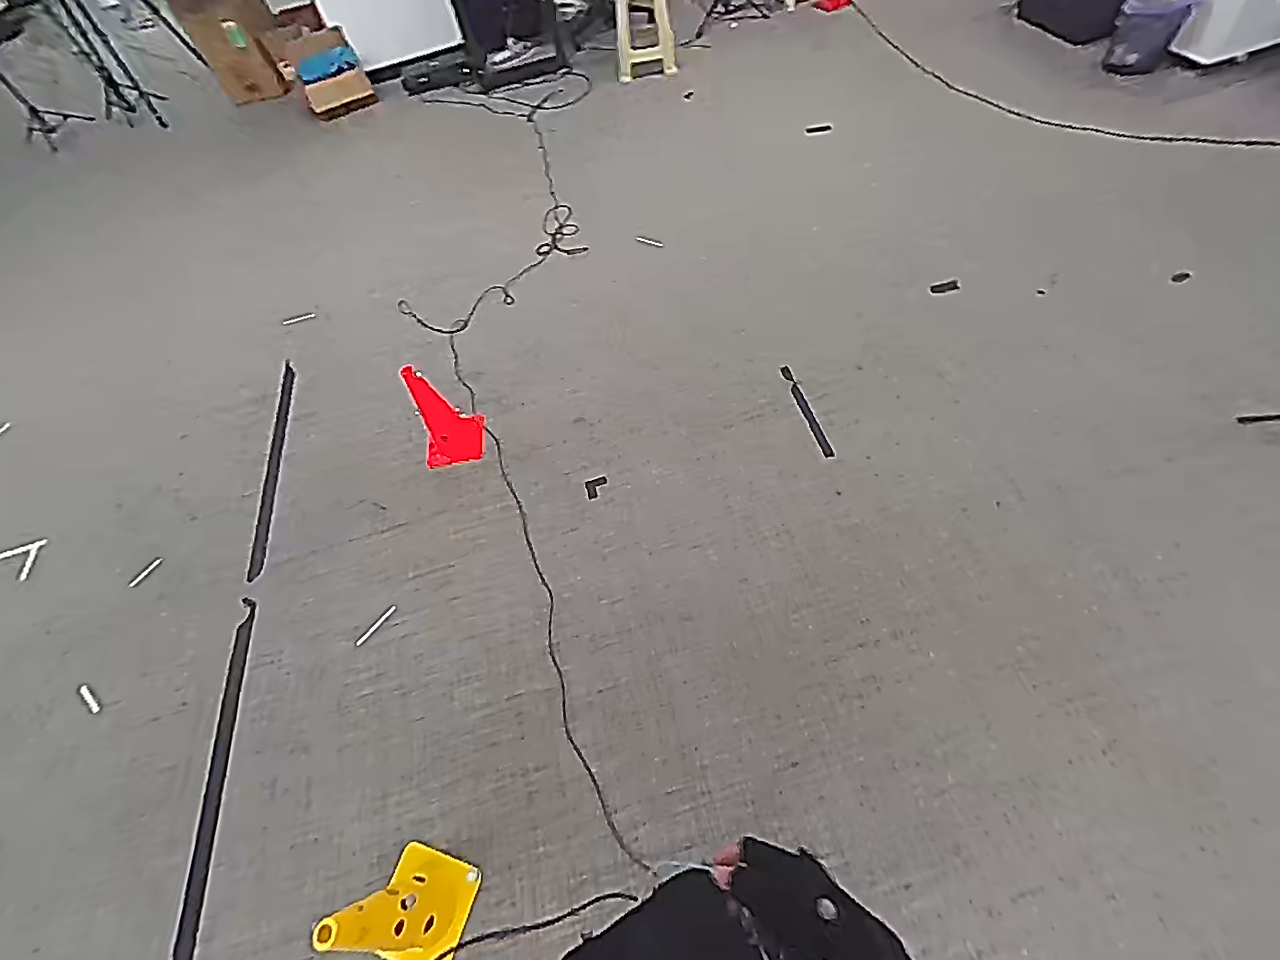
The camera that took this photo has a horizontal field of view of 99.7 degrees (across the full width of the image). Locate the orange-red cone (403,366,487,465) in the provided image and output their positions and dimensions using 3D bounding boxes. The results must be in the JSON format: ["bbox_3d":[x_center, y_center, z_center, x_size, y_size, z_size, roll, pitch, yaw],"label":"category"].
[{"bbox_3d":[-0.661,-0.233,1.757,0.198,0.360,0.199,-10,57,4],"label":"orange-red cone"}]
